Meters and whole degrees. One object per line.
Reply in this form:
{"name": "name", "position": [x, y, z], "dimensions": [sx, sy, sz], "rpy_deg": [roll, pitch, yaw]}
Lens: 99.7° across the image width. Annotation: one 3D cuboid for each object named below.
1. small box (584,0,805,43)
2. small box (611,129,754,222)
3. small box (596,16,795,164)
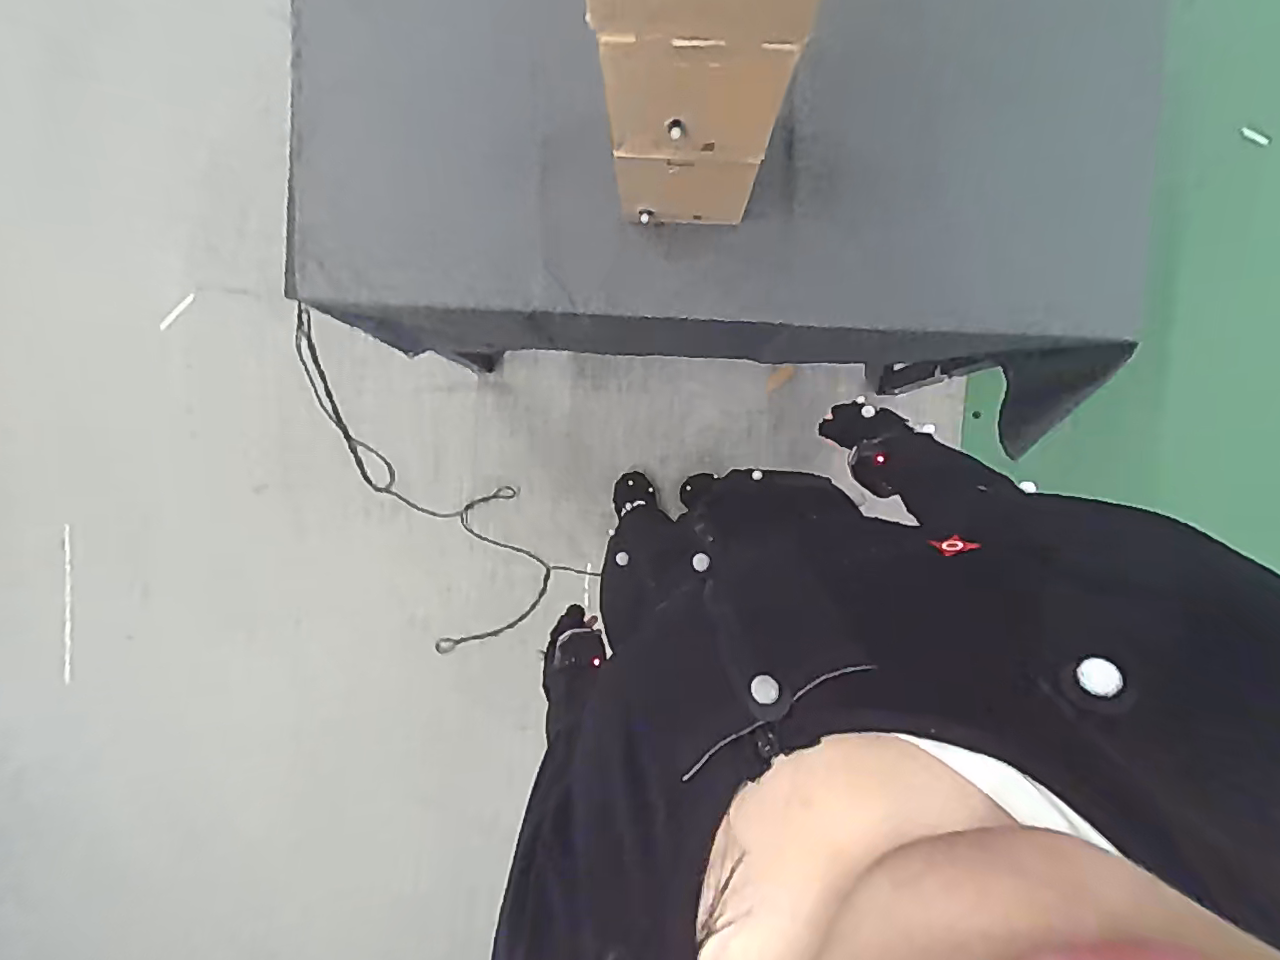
{"name": "small box", "position": [0.046, -0.434, 0.357], "dimensions": [0.179, 0.176, 0.168], "rpy_deg": [4, 92, 2]}
{"name": "small box", "position": [0.057, -0.447, 0.684], "dimensions": [0.168, 0.176, 0.179], "rpy_deg": [2, 91, 2]}
{"name": "small box", "position": [0.051, -0.442, 0.522], "dimensions": [0.168, 0.176, 0.179], "rpy_deg": [3, 92, 2]}
